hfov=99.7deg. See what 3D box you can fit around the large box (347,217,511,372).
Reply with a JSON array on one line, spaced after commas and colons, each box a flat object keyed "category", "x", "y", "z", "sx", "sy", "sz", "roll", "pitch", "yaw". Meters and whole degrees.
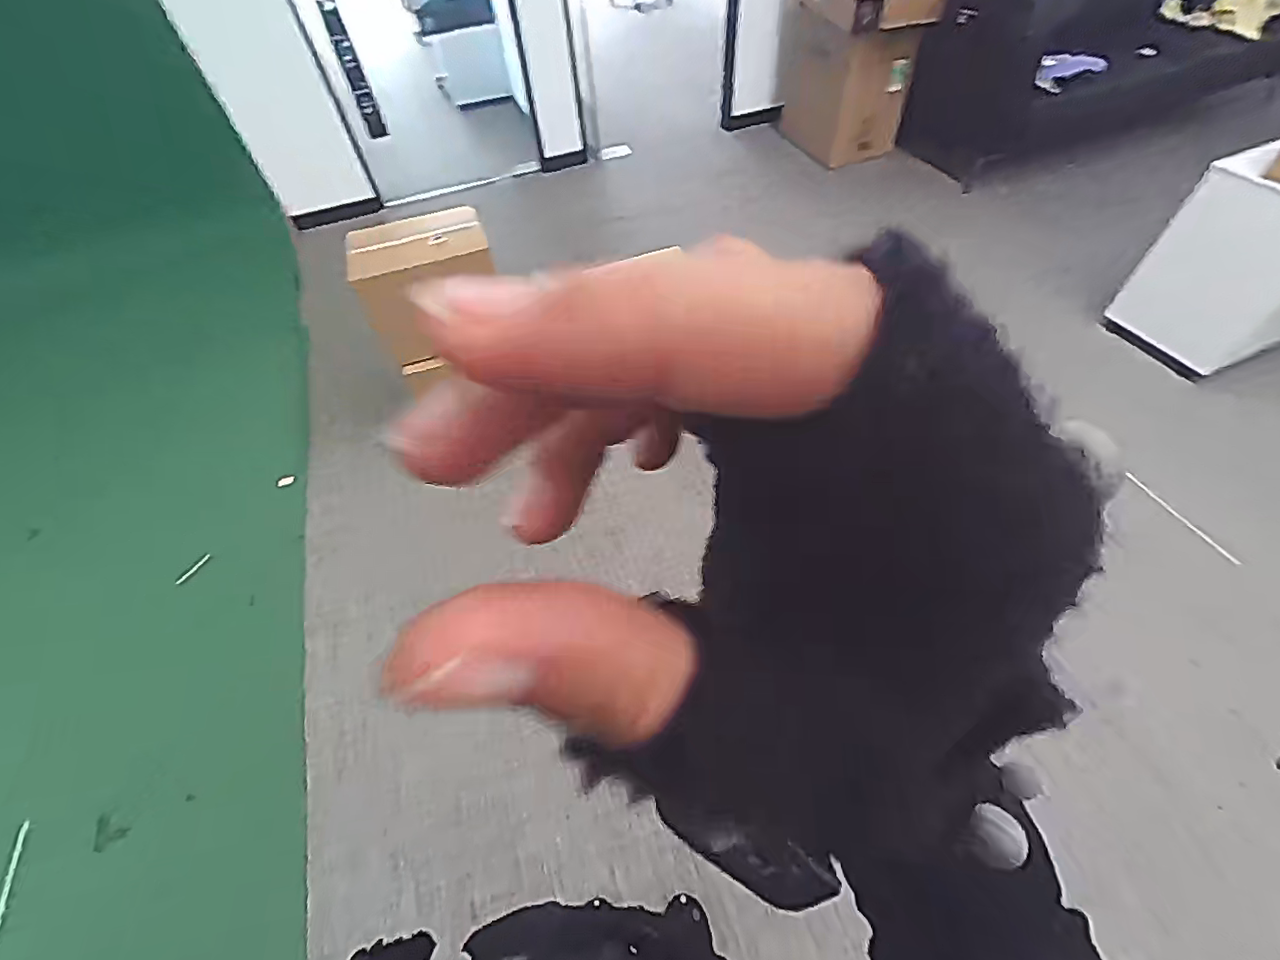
[{"category": "large box", "x": -0.674, "y": -0.600, "z": 1.750, "sx": 0.408, "sy": 0.320, "sz": 0.320, "roll": -18, "pitch": 51, "yaw": -10}]
